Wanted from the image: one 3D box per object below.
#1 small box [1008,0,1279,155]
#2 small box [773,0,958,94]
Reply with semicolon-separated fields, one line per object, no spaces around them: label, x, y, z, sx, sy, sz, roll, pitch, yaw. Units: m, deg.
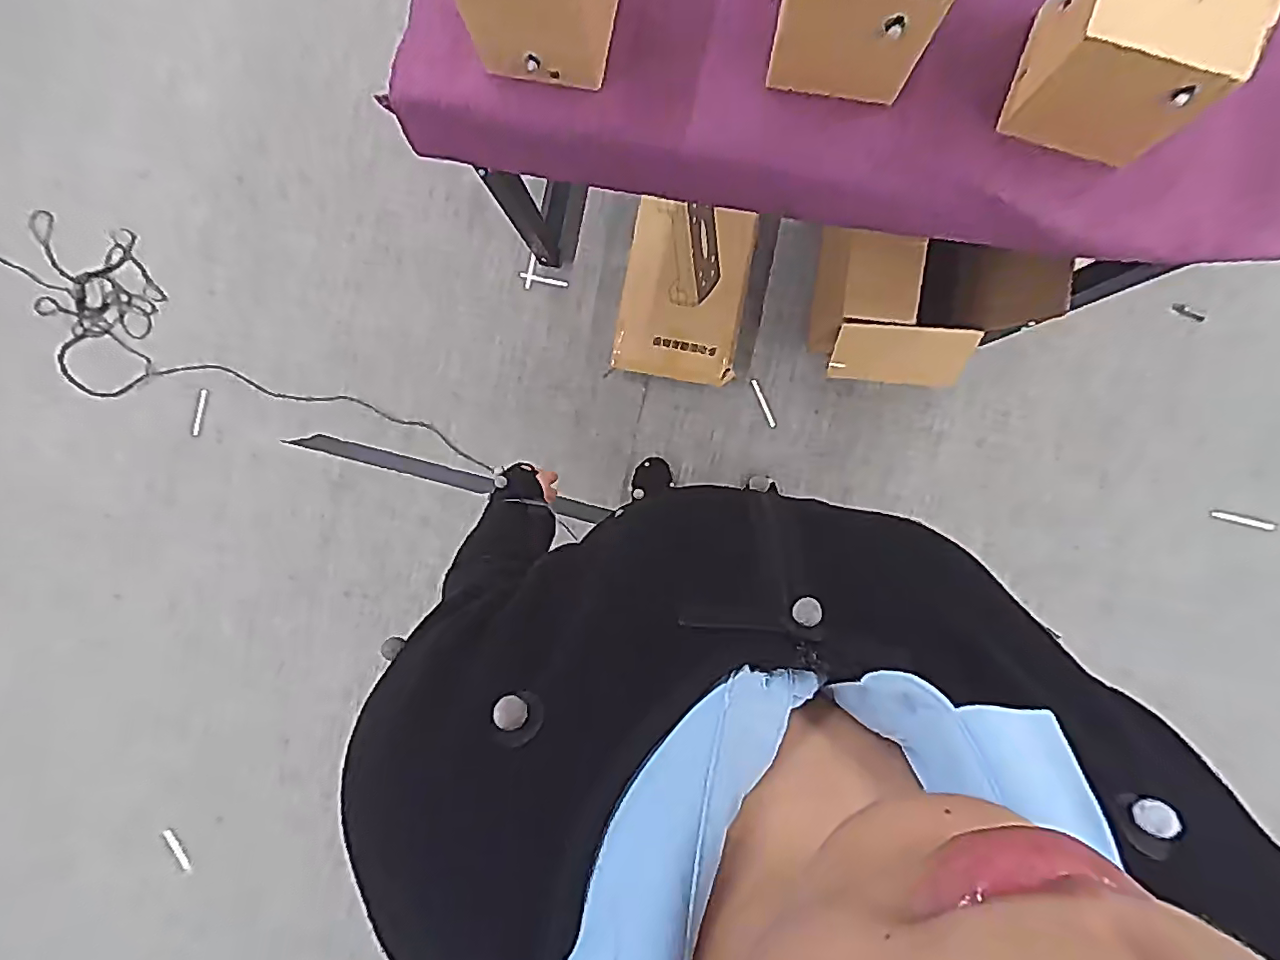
small box;0.580;-0.518;0.629;0.179;0.176;0.168;18;93;3
small box;0.273;-0.604;0.646;0.179;0.176;0.168;11;90;3
